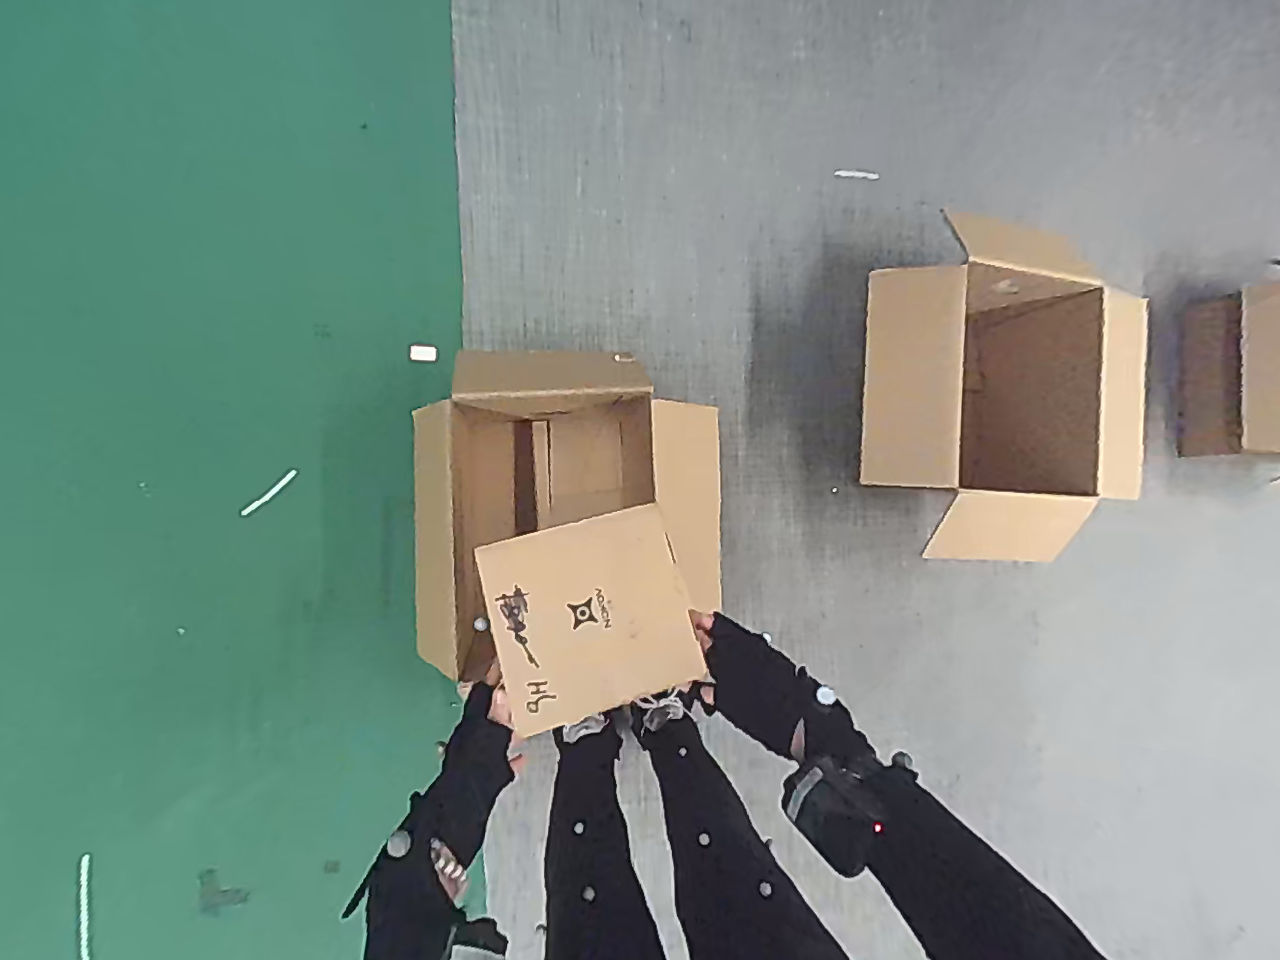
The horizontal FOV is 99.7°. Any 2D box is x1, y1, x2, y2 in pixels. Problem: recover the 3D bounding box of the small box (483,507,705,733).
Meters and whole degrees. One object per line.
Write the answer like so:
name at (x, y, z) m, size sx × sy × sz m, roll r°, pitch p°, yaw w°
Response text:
small box at (-0.057, 0.140, 0.570) m, size 0.179 × 0.176 × 0.168 m, roll -14°, pitch 78°, yaw -14°
